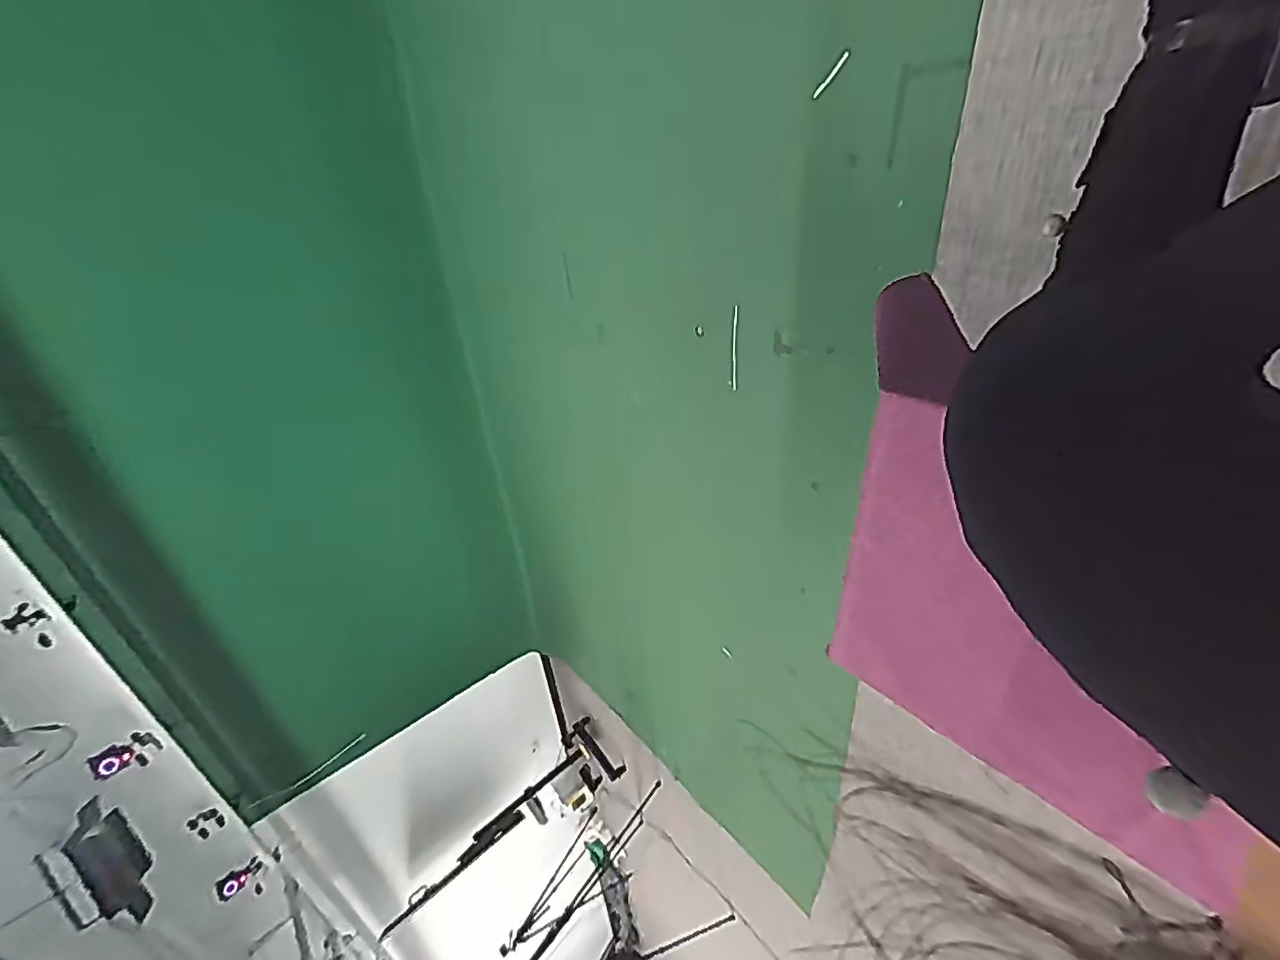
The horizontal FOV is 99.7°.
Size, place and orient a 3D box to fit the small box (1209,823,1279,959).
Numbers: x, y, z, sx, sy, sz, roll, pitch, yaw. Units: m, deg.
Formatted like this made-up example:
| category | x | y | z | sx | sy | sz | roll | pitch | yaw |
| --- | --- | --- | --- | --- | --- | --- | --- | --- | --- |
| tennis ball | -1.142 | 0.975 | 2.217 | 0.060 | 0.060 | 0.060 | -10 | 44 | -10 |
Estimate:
| category | x | y | z | sx | sy | sz | roll | pitch | yaw |
| --- | --- | --- | --- | --- | --- | --- | --- | --- | --- |
| small box | 0.589 | 0.382 | 0.409 | 0.168 | 0.176 | 0.179 | 30 | 134 | 41 |
